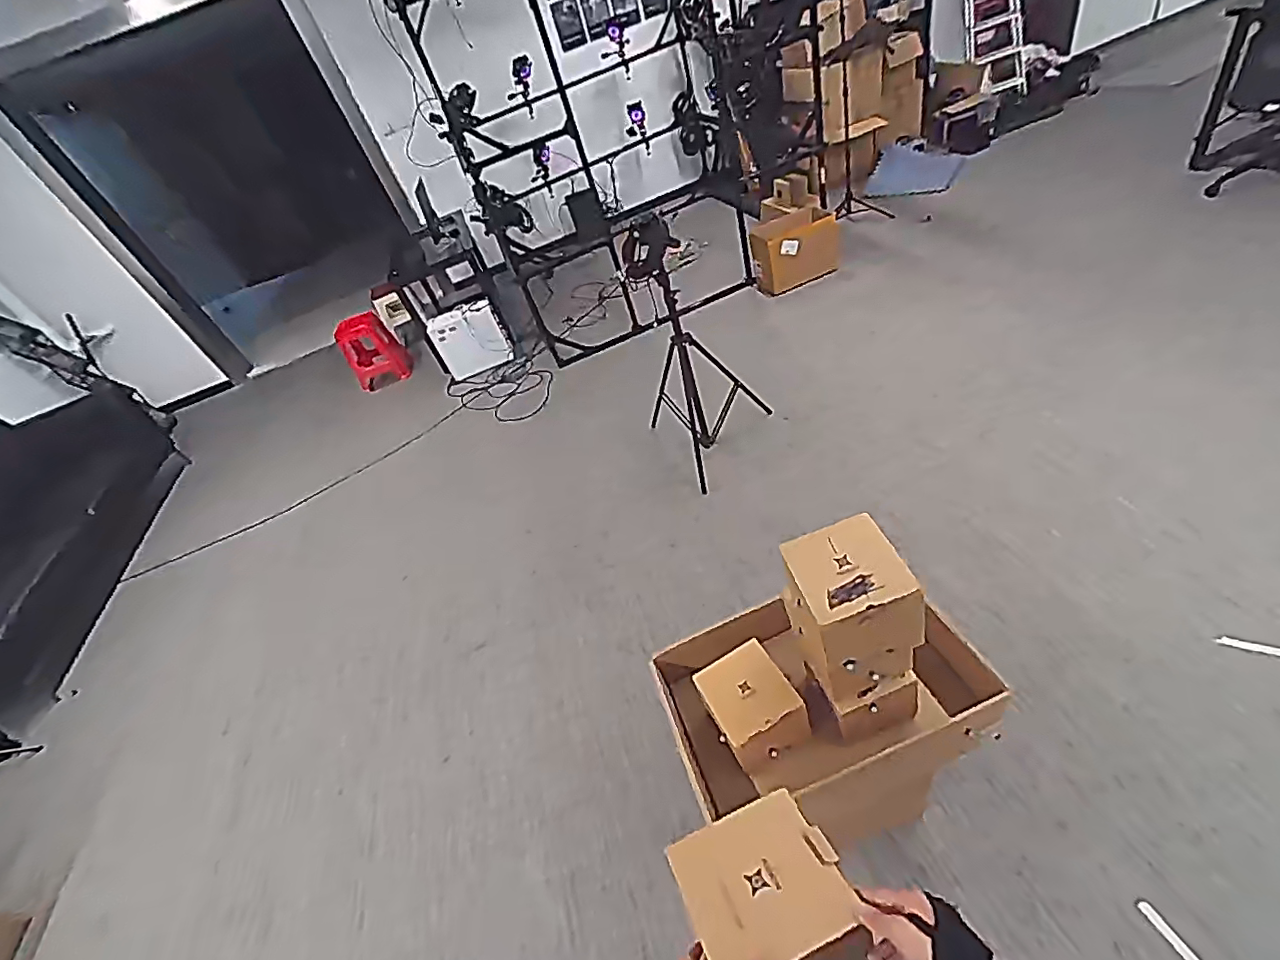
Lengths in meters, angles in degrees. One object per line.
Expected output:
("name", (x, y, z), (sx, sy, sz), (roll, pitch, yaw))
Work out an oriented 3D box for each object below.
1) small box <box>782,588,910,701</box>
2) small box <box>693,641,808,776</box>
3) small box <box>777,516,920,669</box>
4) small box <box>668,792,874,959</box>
("small box", (0.399, 0.293, 1.053), (0.168, 0.176, 0.179), (-25, 41, 1))
("small box", (0.238, 0.492, 1.162), (0.168, 0.176, 0.179), (-29, 42, -9))
("small box", (0.355, 0.199, 0.921), (0.168, 0.176, 0.179), (-22, 40, 5))
("small box", (0.154, 0.529, 0.647), (0.179, 0.176, 0.168), (-20, 25, -13))
